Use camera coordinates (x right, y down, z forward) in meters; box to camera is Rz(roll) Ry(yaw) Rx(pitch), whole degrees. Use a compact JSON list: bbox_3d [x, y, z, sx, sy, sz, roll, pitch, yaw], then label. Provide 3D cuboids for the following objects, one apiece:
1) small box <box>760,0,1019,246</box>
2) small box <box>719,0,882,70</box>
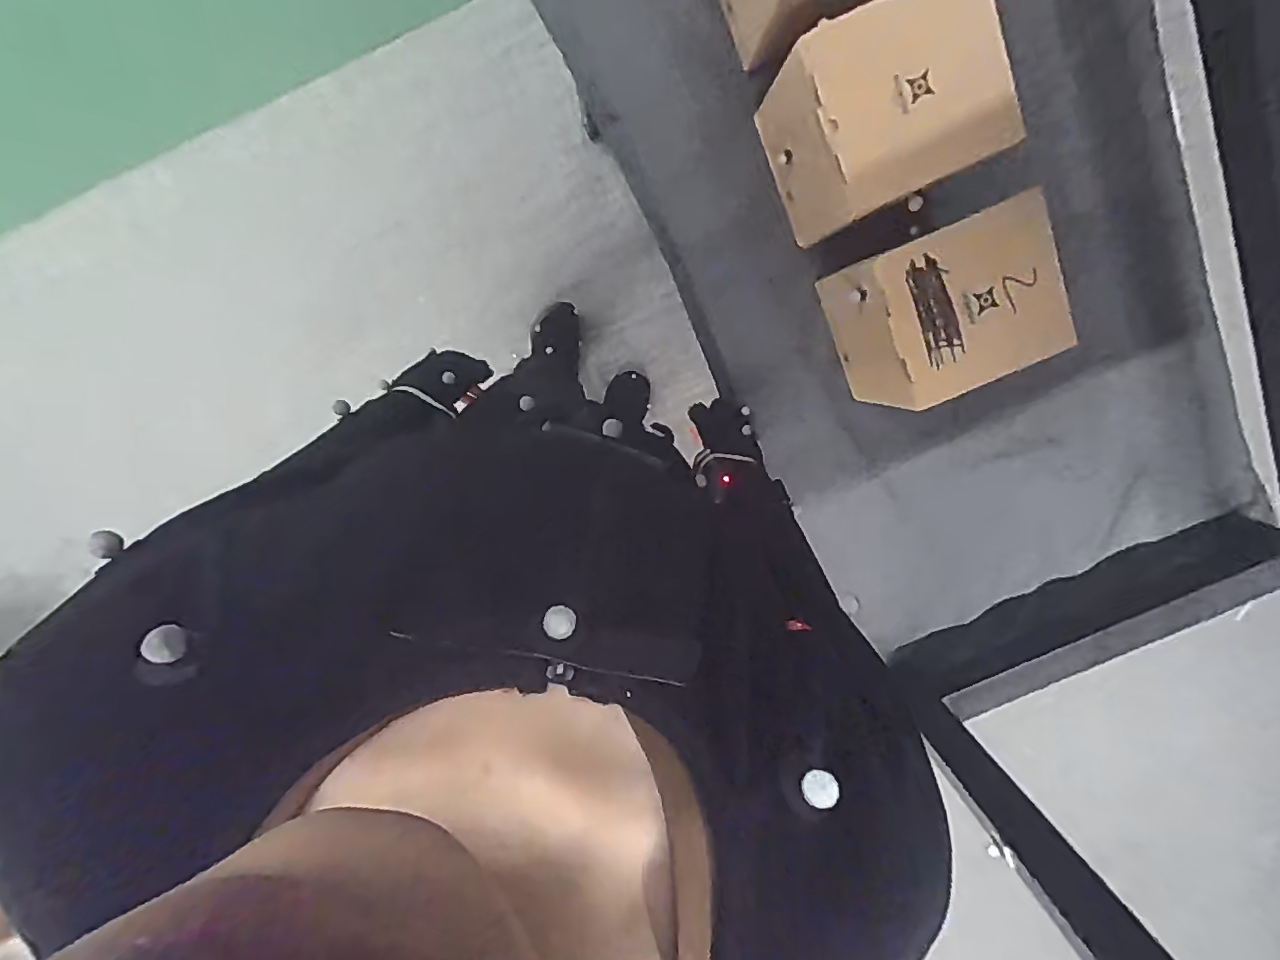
[{"bbox_3d":[0.253,-0.379,0.586,0.179,0.176,0.168,-24,103,4],"label":"small box"},{"bbox_3d":[0.174,-0.564,0.537,0.179,0.176,0.168,-24,103,4],"label":"small box"}]
